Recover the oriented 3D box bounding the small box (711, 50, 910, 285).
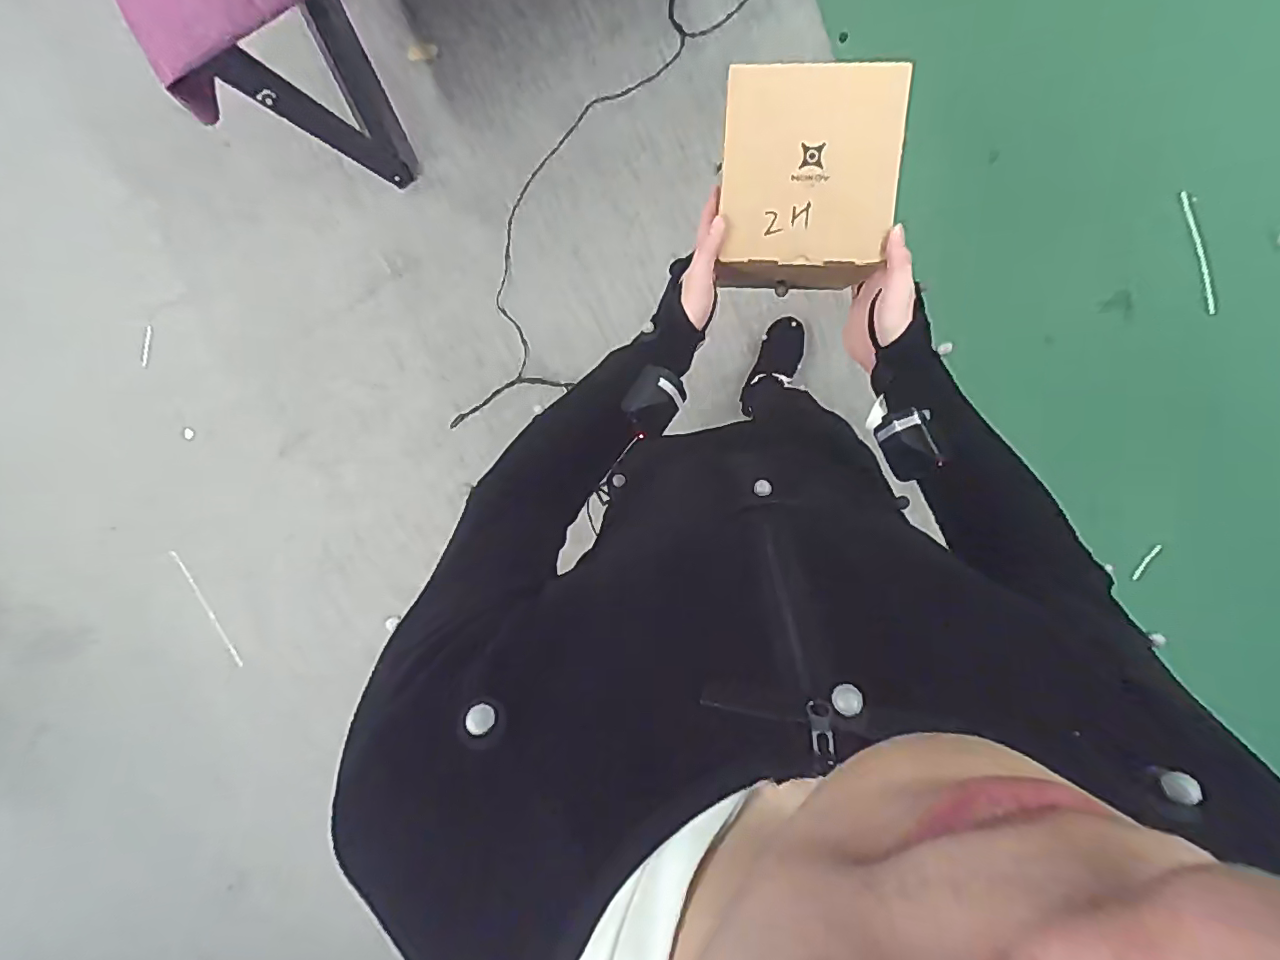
[{"bbox_3d":[0.167,-0.320,0.586,0.168,0.176,0.179,4,101,6],"label":"small box"}]

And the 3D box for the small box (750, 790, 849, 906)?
[{"bbox_3d":[0.363,0.856,1.256,0.168,0.176,0.179,-18,99,10],"label":"small box"}]
